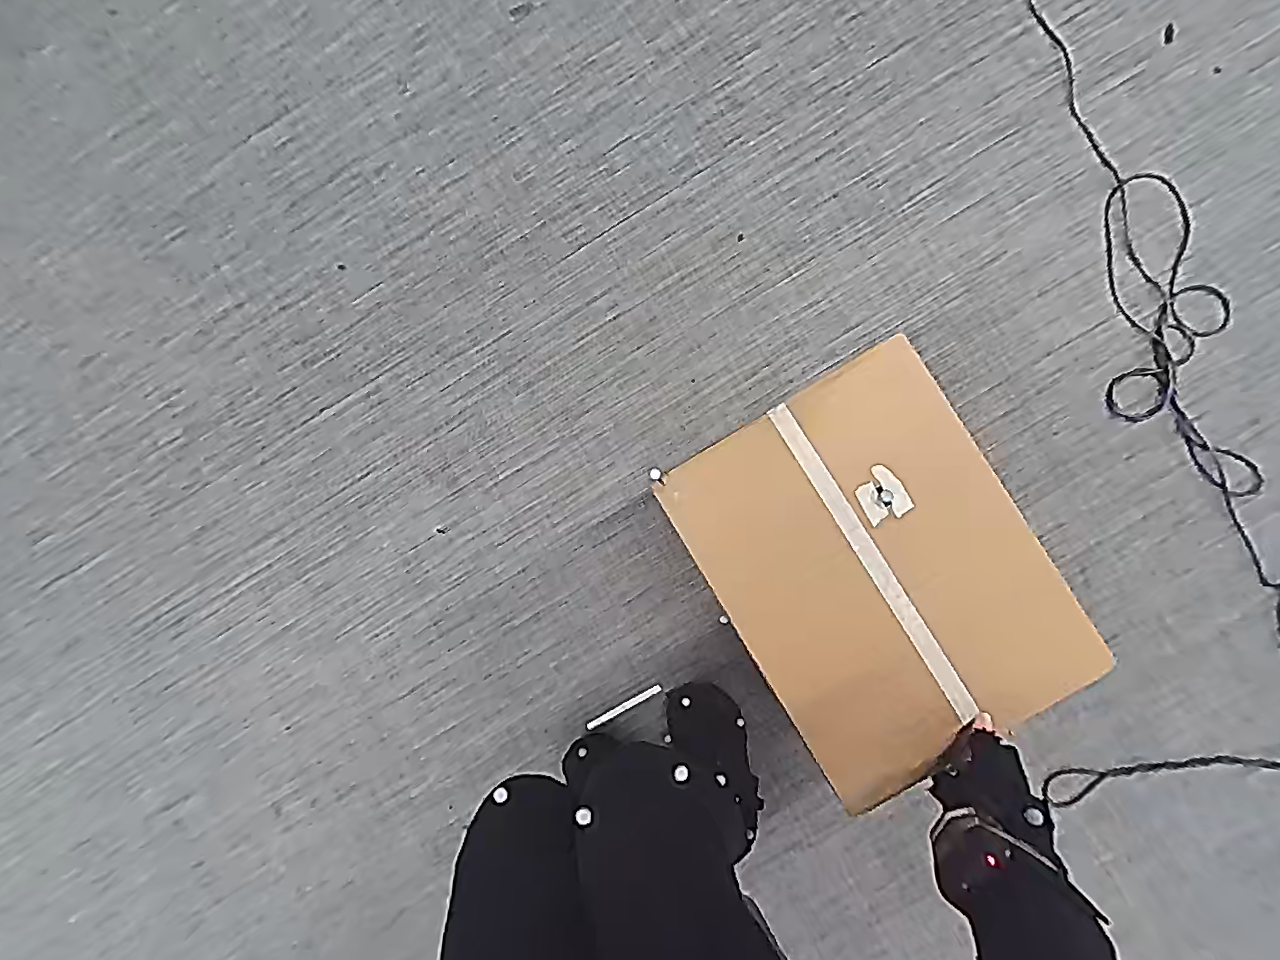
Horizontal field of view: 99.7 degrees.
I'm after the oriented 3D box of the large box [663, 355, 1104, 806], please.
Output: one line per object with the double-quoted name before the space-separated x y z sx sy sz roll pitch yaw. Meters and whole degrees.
"large box" 0.267 0.112 0.731 0.320 0.320 0.408 -31 86 1
